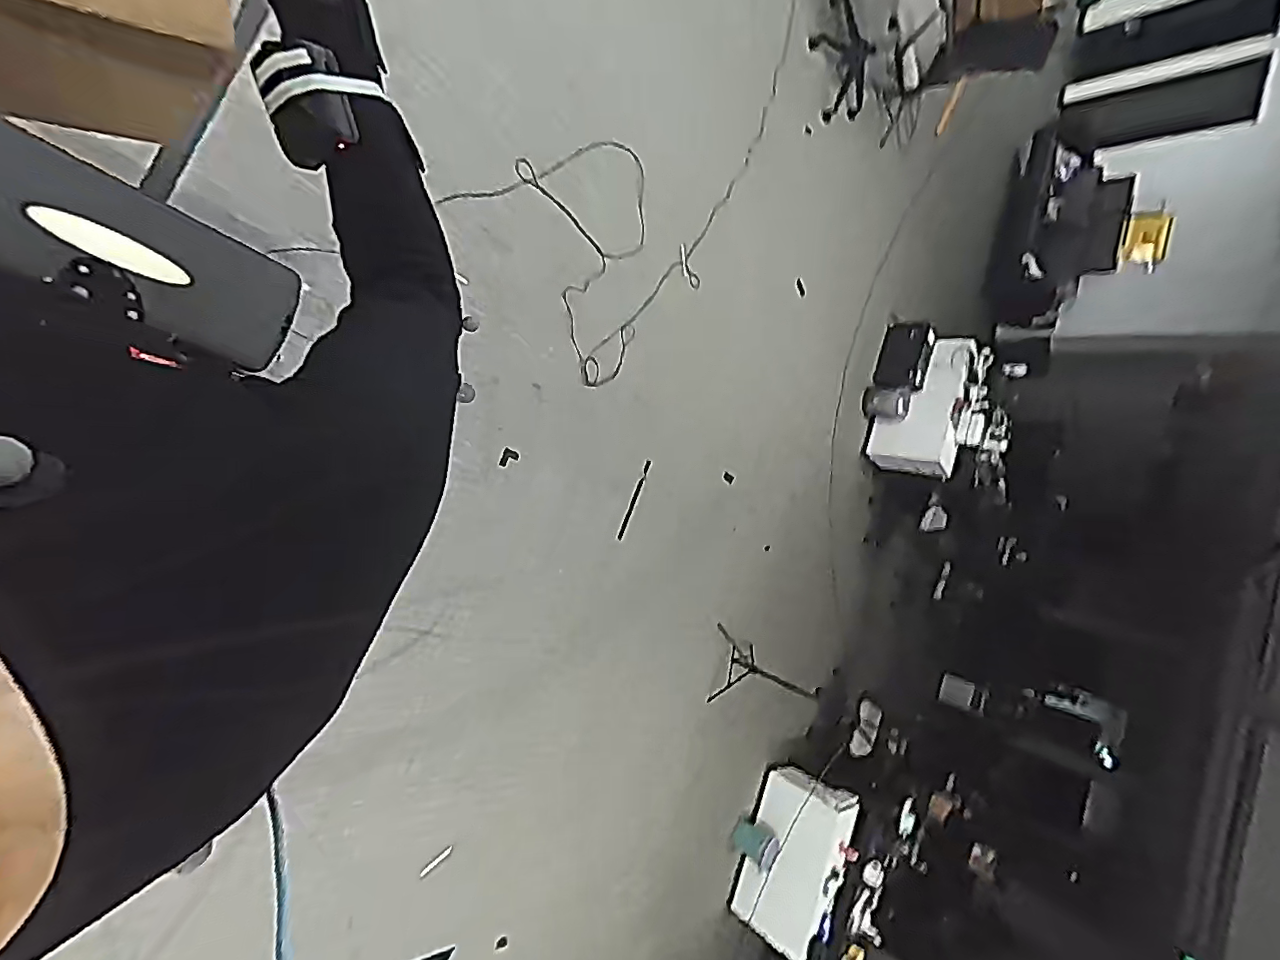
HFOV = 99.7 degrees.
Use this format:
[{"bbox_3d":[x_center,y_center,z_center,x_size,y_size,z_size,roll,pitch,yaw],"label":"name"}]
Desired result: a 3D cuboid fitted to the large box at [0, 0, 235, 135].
[{"bbox_3d":[-0.513,-0.425,0.276,0.408,0.320,0.320,-16,115,-46],"label":"large box"}]
